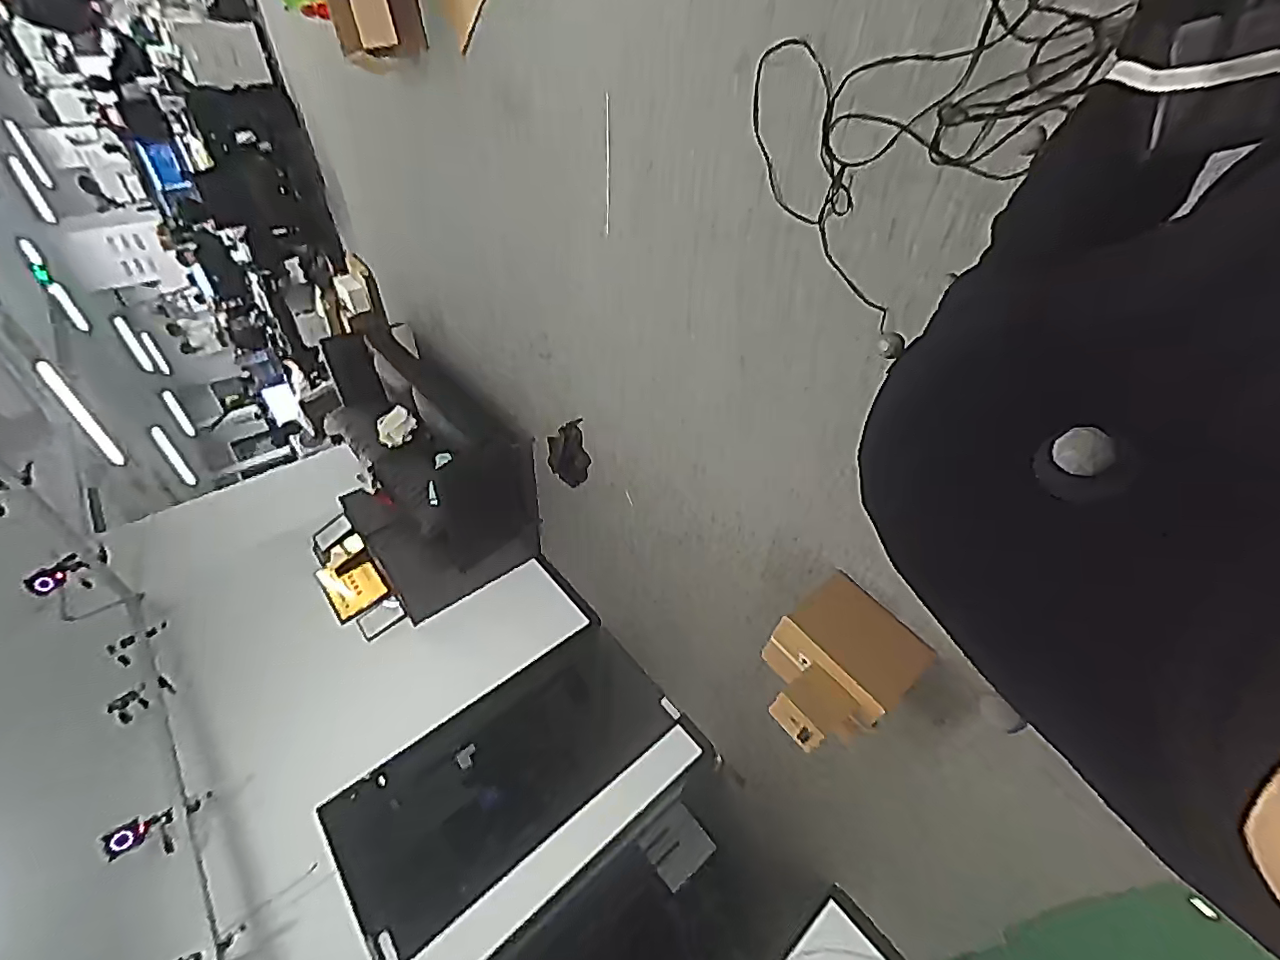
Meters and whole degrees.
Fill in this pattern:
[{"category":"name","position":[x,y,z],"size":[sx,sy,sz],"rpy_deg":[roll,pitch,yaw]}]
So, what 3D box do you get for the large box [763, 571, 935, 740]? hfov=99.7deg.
[{"category":"large box","position":[0.711,0.602,1.884],"size":[0.408,0.320,0.320],"rpy_deg":[45,145,29]}]
